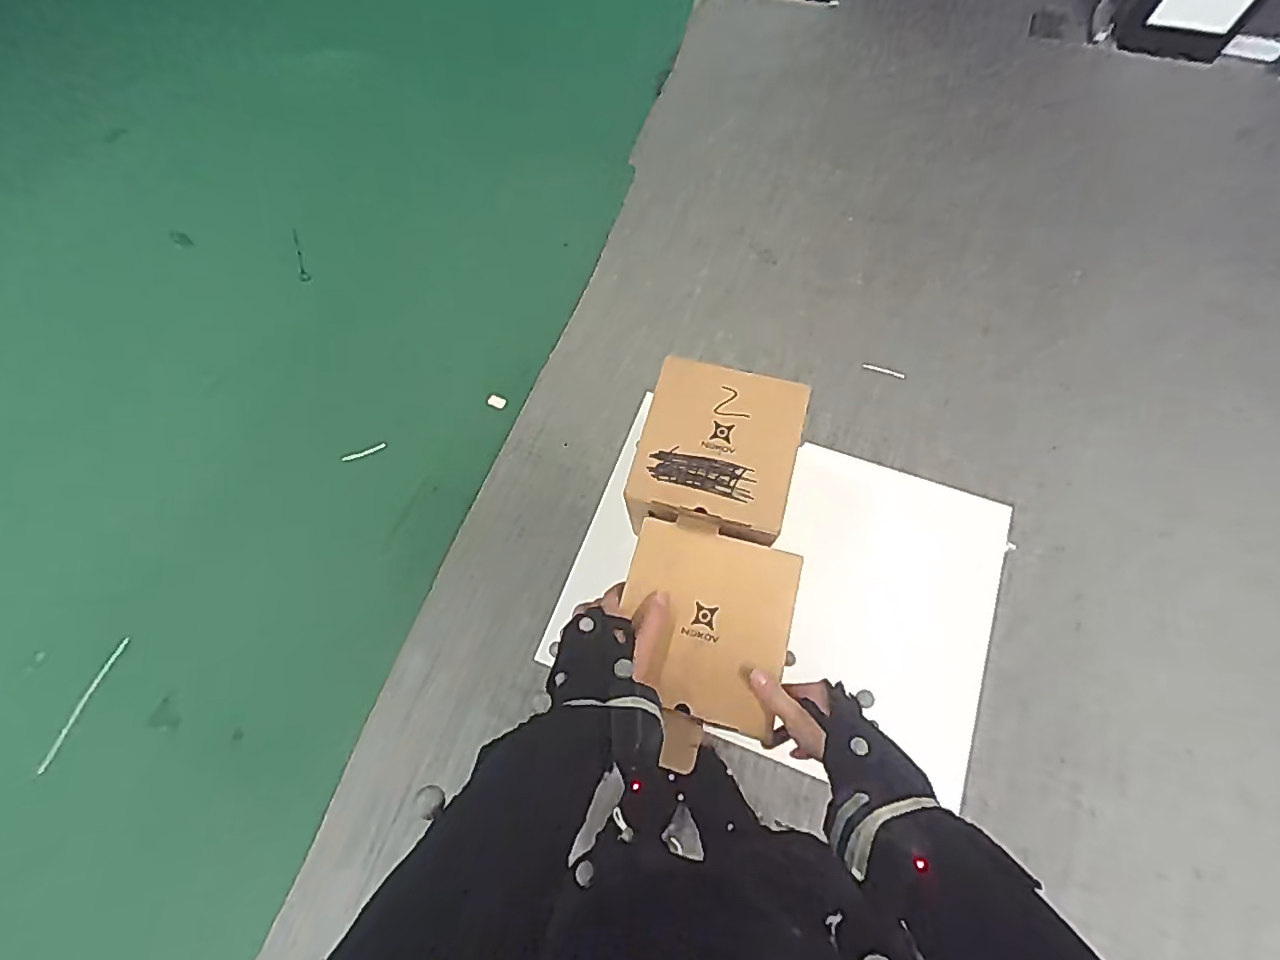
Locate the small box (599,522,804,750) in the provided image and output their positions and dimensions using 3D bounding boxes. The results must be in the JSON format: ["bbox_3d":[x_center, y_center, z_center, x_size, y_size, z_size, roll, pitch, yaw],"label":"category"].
[{"bbox_3d":[0.062,0.168,0.588,0.168,0.176,0.179,15,71,6],"label":"small box"}]
